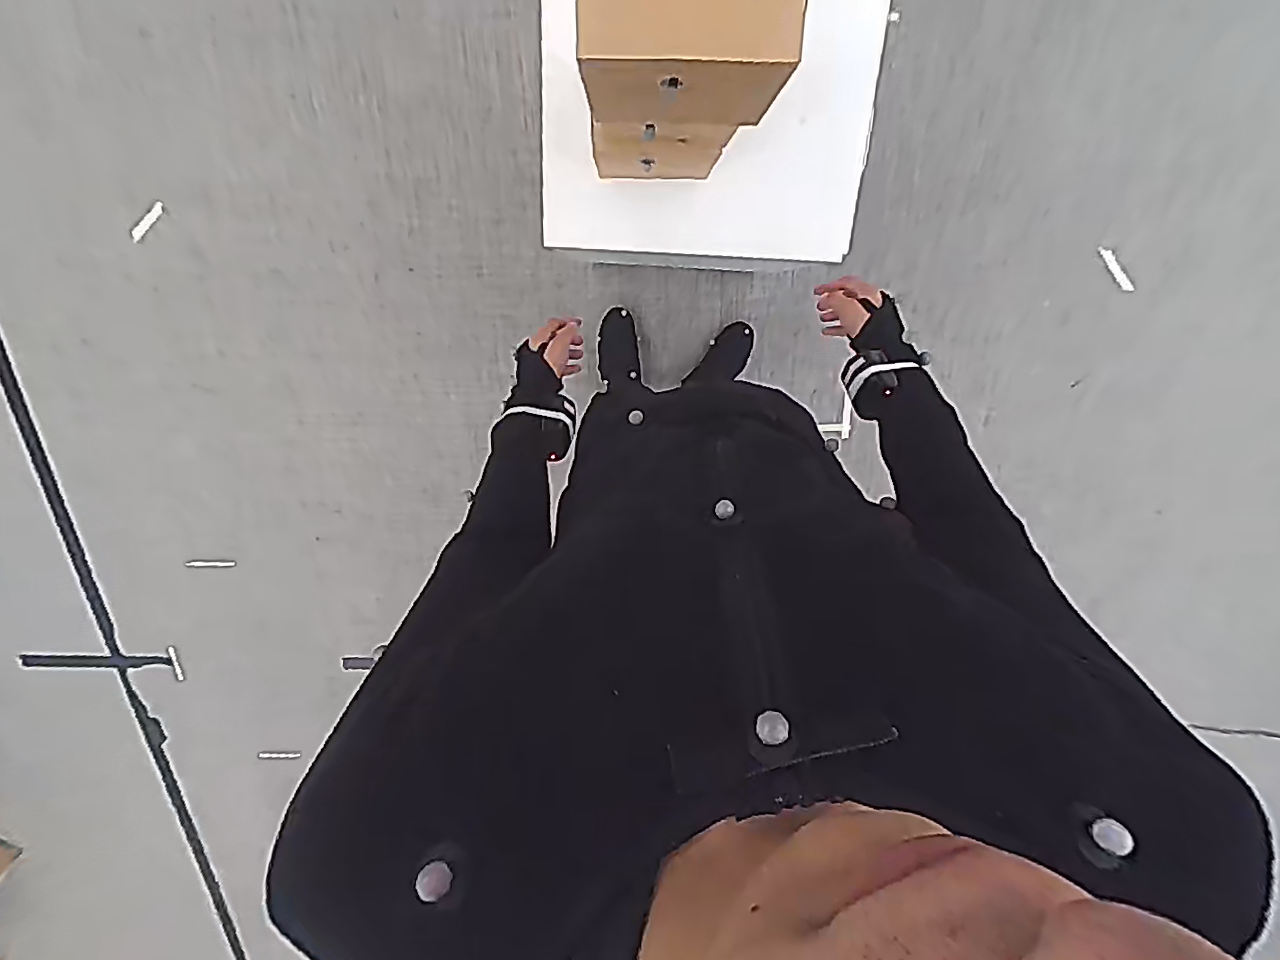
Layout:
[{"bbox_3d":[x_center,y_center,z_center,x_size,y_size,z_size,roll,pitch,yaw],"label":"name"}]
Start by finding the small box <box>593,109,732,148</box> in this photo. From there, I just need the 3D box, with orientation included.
[{"bbox_3d":[0.034,-0.497,0.616,0.168,0.176,0.179,1,108,-1],"label":"small box"}]

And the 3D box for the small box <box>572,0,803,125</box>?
[{"bbox_3d":[0.037,-0.426,0.467,0.179,0.176,0.168,1,109,-1],"label":"small box"}]

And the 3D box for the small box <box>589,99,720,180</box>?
[{"bbox_3d":[0.020,-0.538,0.774,0.179,0.176,0.168,0,109,-2],"label":"small box"}]
